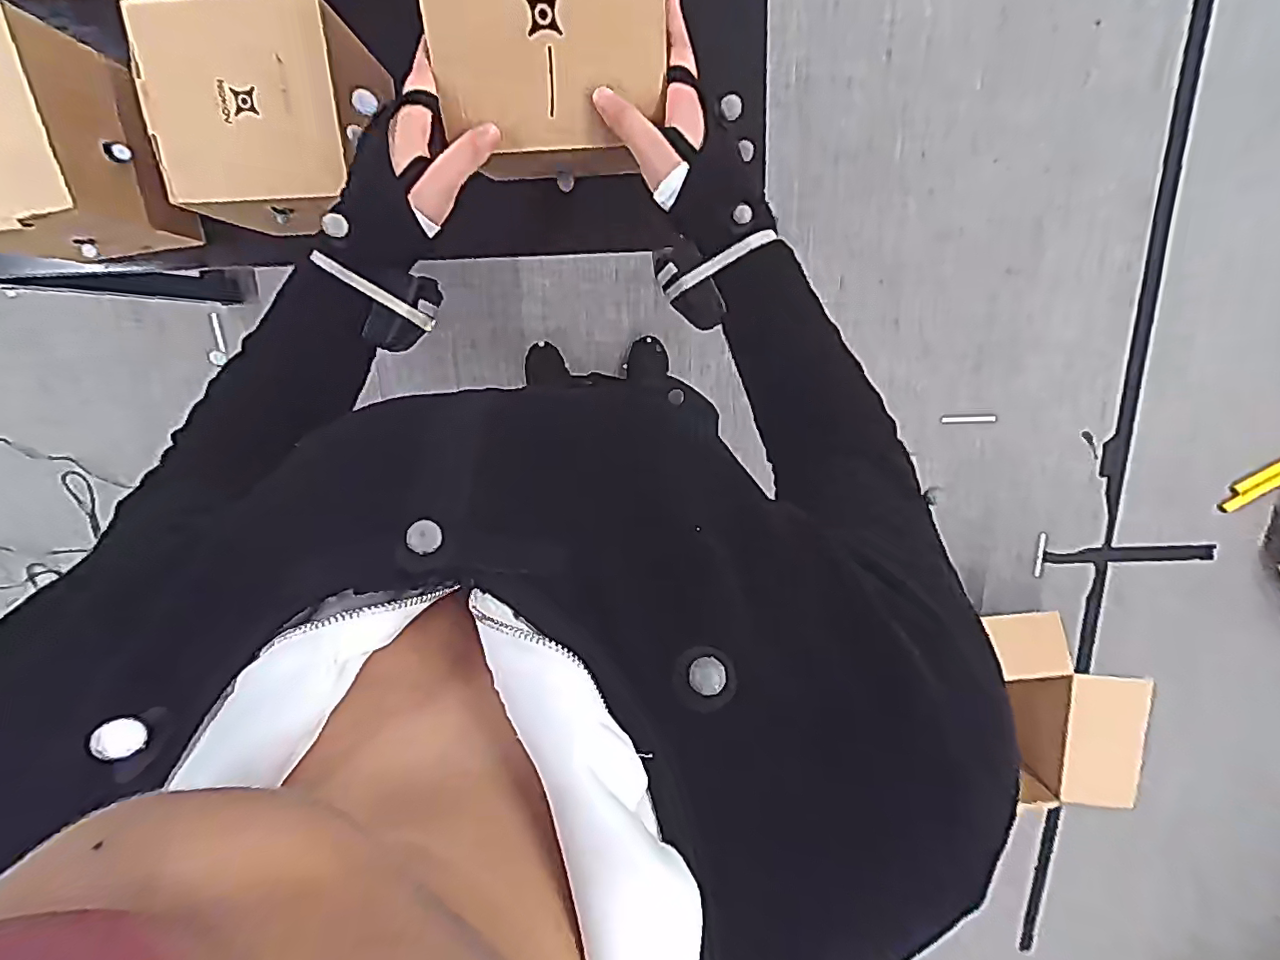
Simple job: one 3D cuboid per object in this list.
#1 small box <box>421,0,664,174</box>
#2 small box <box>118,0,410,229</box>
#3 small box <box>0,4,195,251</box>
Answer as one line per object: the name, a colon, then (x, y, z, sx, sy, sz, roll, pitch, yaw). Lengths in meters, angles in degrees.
small box: (-0.070, -0.358, 0.436, 0.168, 0.176, 0.179, -3, 114, -1)
small box: (-0.370, -0.371, 0.571, 0.179, 0.176, 0.168, -4, 105, -2)
small box: (-0.627, -0.348, 0.567, 0.168, 0.176, 0.179, -9, 105, 0)
